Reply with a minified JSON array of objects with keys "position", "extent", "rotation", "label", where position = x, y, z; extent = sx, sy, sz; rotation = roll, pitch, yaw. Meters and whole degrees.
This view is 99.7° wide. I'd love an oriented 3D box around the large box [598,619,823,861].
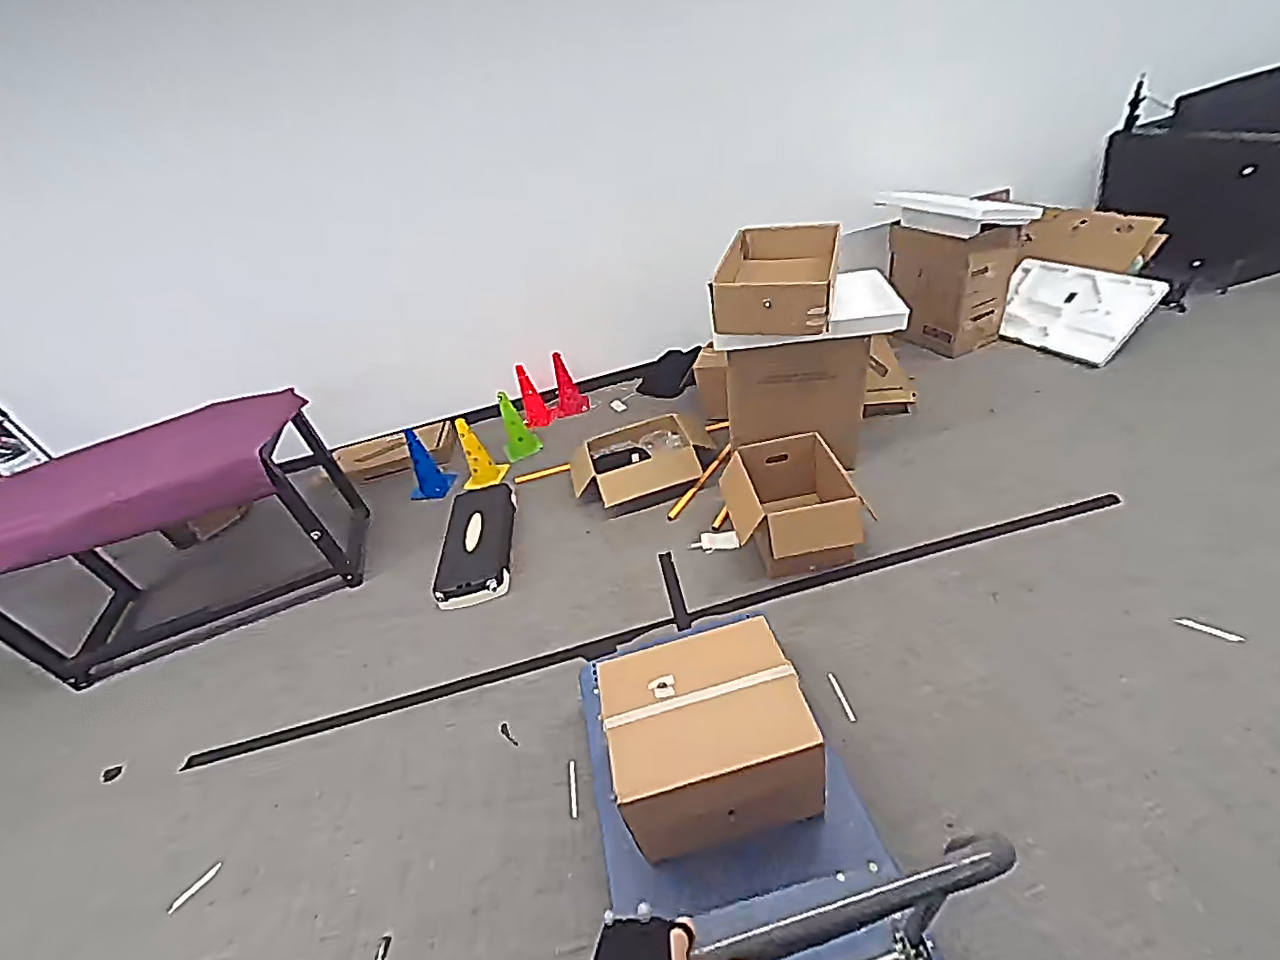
[{"position":[0.155,0.580,1.217],"extent":[0.408,0.320,0.320],"rotation":[-17,35,-1],"label":"large box"}]
